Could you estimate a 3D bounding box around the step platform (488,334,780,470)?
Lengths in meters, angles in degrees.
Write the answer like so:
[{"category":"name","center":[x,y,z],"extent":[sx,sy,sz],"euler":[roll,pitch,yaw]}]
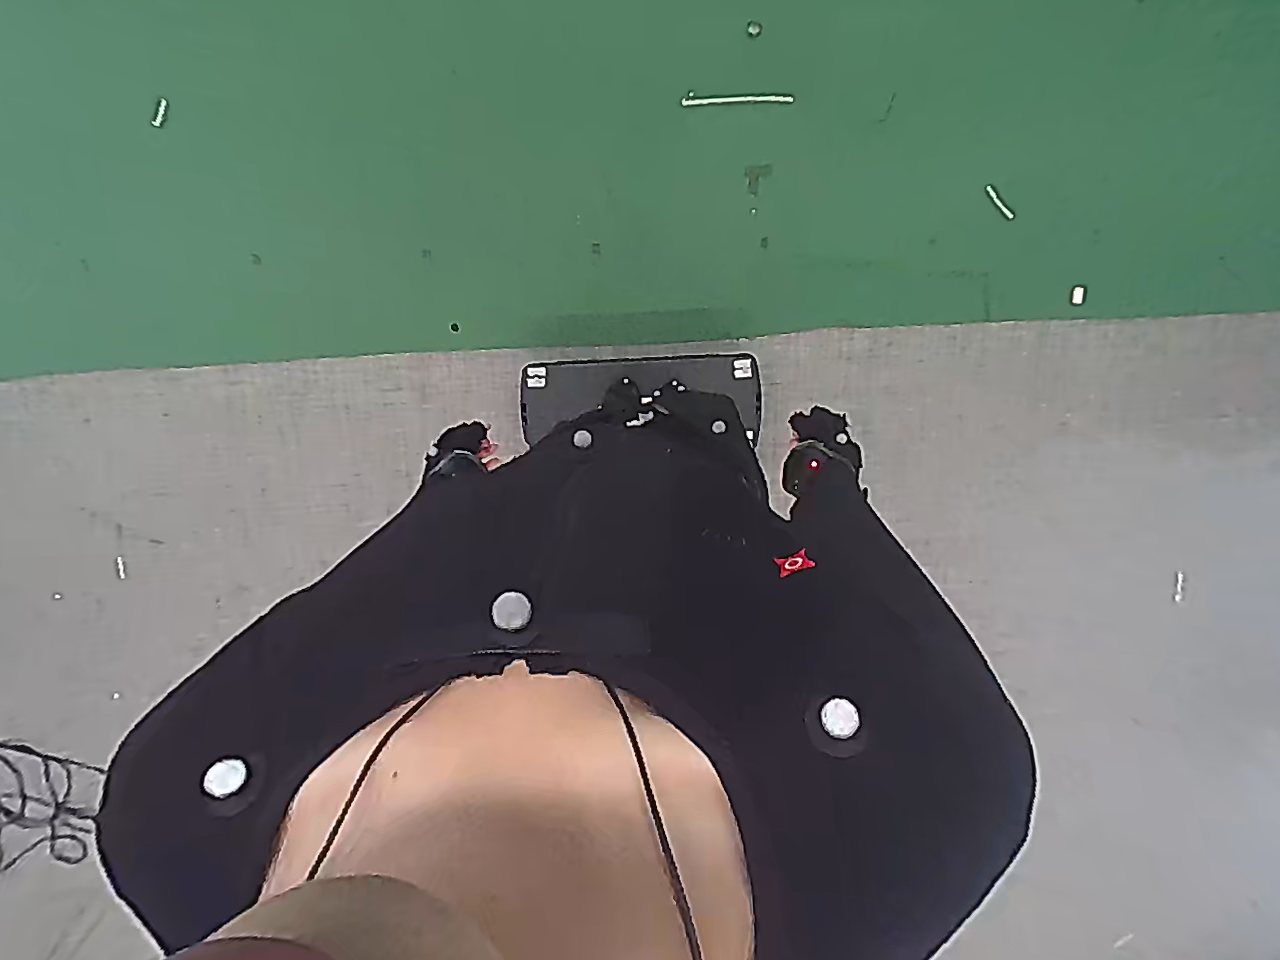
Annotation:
[{"category":"step platform","center":[-0.013,-0.198,1.353],"extent":[0.684,0.204,0.286],"euler":[-3,100,0]}]
